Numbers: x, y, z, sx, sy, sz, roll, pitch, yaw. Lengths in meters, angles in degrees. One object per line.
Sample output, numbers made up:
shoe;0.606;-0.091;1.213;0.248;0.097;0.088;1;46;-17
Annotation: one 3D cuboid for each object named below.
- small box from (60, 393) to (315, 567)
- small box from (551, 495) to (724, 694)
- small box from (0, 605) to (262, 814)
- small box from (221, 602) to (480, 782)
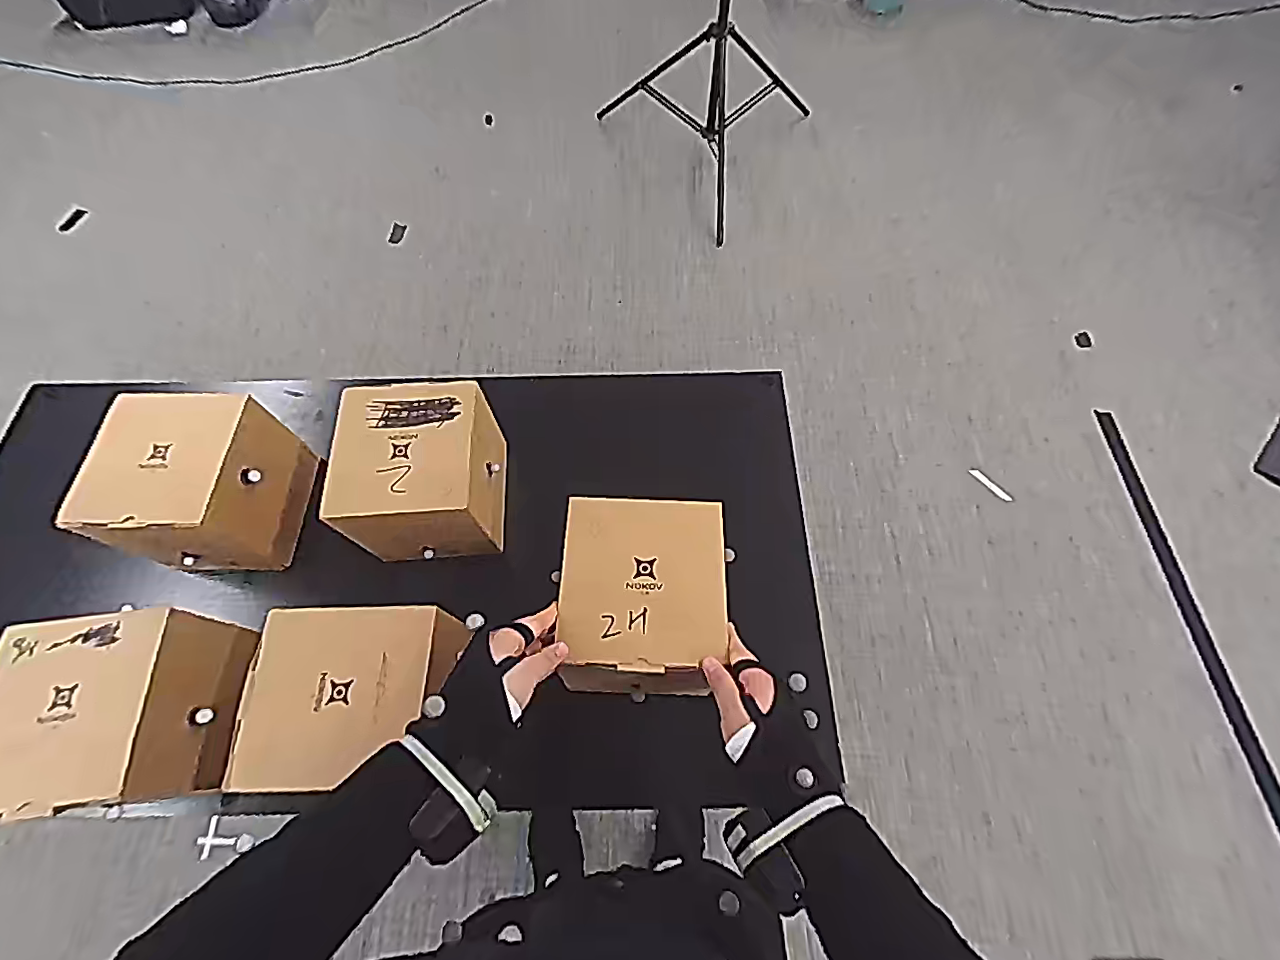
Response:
small box;-0.564;0.005;0.709;0.168;0.176;0.179;0;65;1
small box;-0.001;0.134;0.612;0.168;0.176;0.179;2;61;0
small box;-0.550;0.248;0.590;0.168;0.176;0.179;-7;65;-2
small box;-0.293;0.235;0.594;0.179;0.176;0.168;-1;64;0
